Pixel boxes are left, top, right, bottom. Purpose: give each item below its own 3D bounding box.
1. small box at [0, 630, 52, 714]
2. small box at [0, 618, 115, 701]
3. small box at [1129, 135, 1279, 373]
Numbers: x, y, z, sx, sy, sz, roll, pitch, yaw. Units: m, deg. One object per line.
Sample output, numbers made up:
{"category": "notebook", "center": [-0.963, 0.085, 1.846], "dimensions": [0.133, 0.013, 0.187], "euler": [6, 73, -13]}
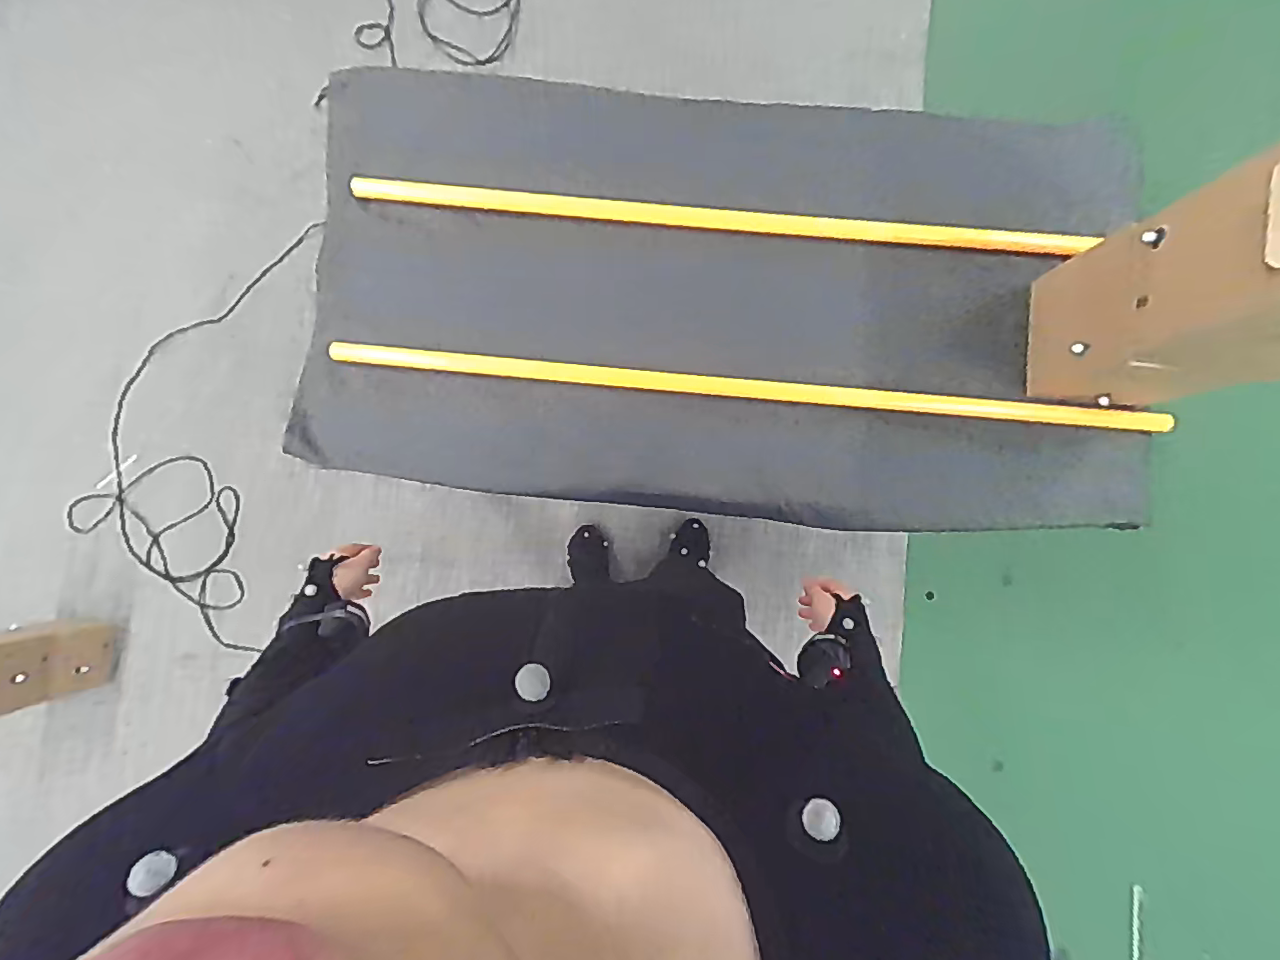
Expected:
{"category": "small box", "center": [-1.499, 0.439, 1.219], "dimensions": [0.179, 0.176, 0.168], "euler": [0, 86, 0]}
{"category": "small box", "center": [-1.508, 0.452, 1.384], "dimensions": [0.179, 0.176, 0.168], "euler": [2, 87, 0]}
{"category": "small box", "center": [0.652, -0.216, 0.544], "dimensions": [0.179, 0.176, 0.168], "euler": [10, 87, 0]}
